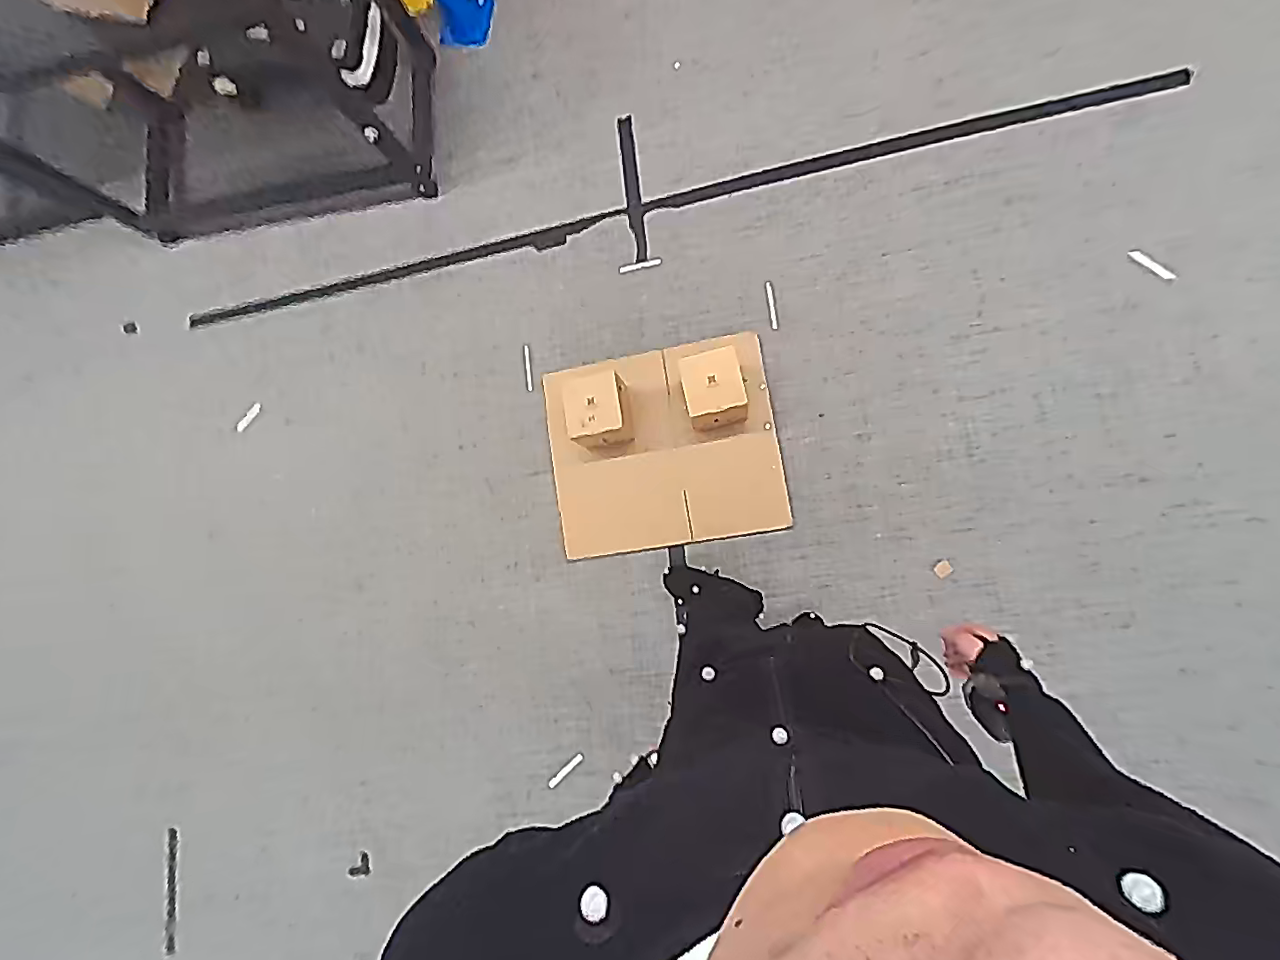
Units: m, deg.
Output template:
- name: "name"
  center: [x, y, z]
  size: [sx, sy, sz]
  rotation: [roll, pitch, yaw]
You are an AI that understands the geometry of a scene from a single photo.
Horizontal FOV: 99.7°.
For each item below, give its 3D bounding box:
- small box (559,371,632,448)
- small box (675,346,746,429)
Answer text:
- name: "small box"
  center: [-0.130, -0.207, 1.623]
  size: [0.168, 0.176, 0.179]
  rotation: [-11, 82, 10]
- name: "small box"
  center: [0.206, -0.262, 1.572]
  size: [0.168, 0.176, 0.179]
  rotation: [-14, 82, 9]
